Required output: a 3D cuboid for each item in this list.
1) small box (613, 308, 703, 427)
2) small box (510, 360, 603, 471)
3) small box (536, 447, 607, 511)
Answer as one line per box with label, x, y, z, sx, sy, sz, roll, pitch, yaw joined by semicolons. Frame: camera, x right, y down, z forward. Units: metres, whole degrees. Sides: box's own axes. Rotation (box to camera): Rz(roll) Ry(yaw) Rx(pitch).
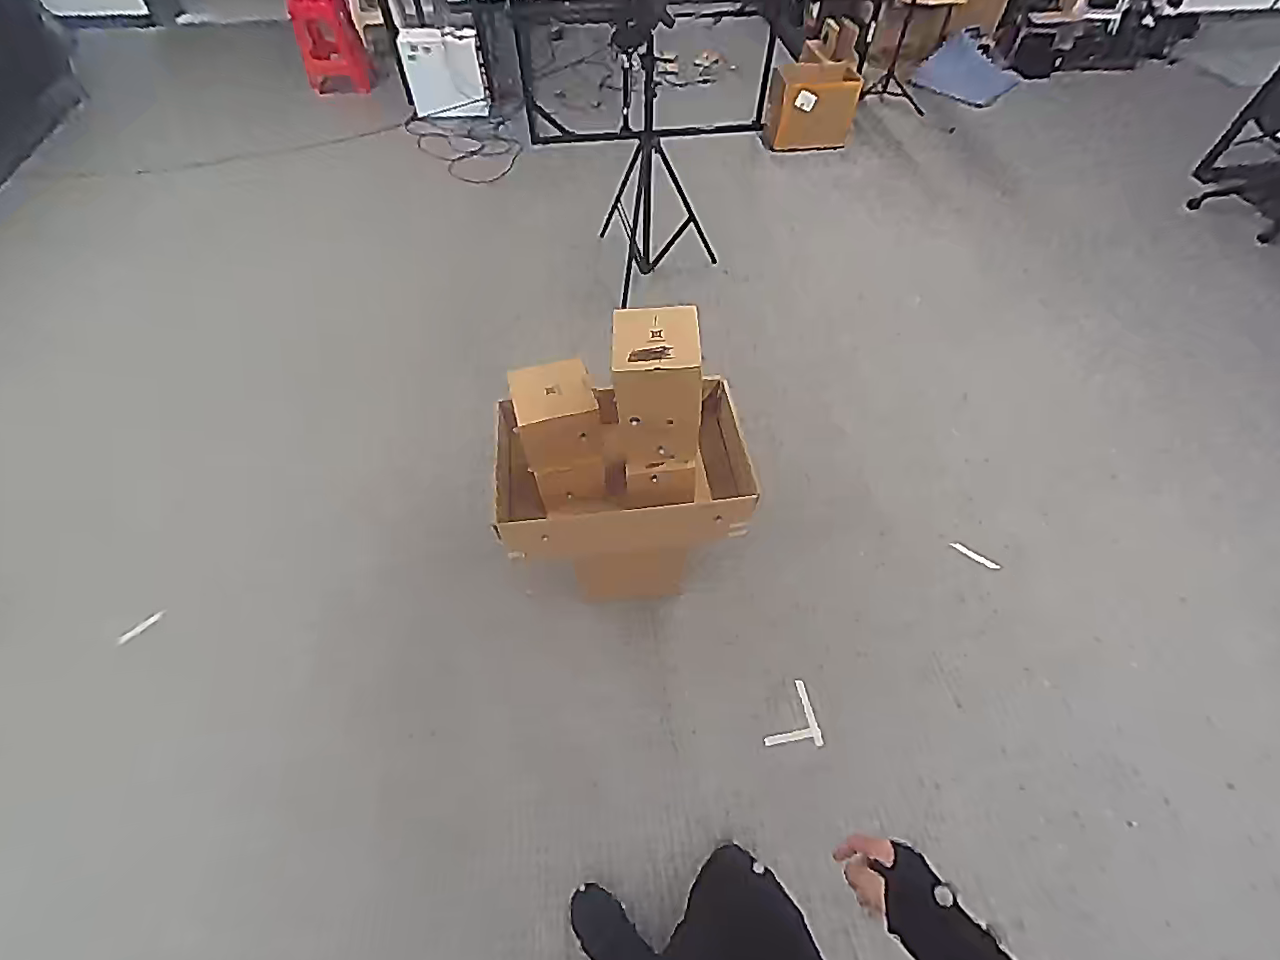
small box;0.038;-0.217;1.081;0.168;0.176;0.179;-2;56;2
small box;-0.186;-0.143;1.232;0.179;0.176;0.168;-13;56;-10
small box;-0.182;-0.047;1.364;0.168;0.176;0.179;-13;57;-9
